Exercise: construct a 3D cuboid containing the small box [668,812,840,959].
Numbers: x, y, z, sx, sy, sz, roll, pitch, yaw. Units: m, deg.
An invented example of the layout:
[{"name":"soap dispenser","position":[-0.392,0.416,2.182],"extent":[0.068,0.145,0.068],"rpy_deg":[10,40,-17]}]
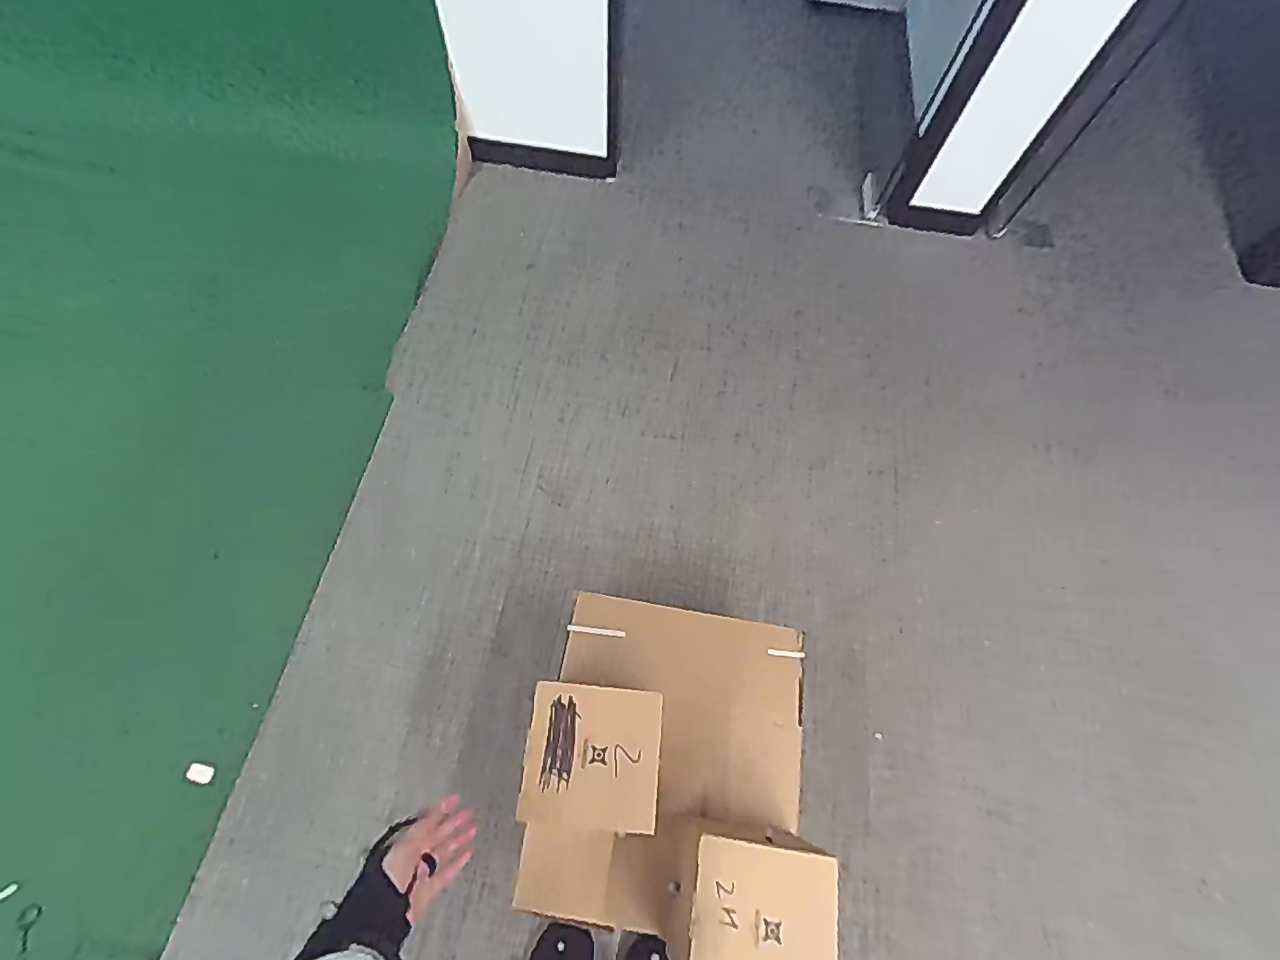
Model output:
[{"name":"small box","position":[0.142,0.550,0.706],"extent":[0.179,0.176,0.168],"rpy_deg":[10,65,1]}]
